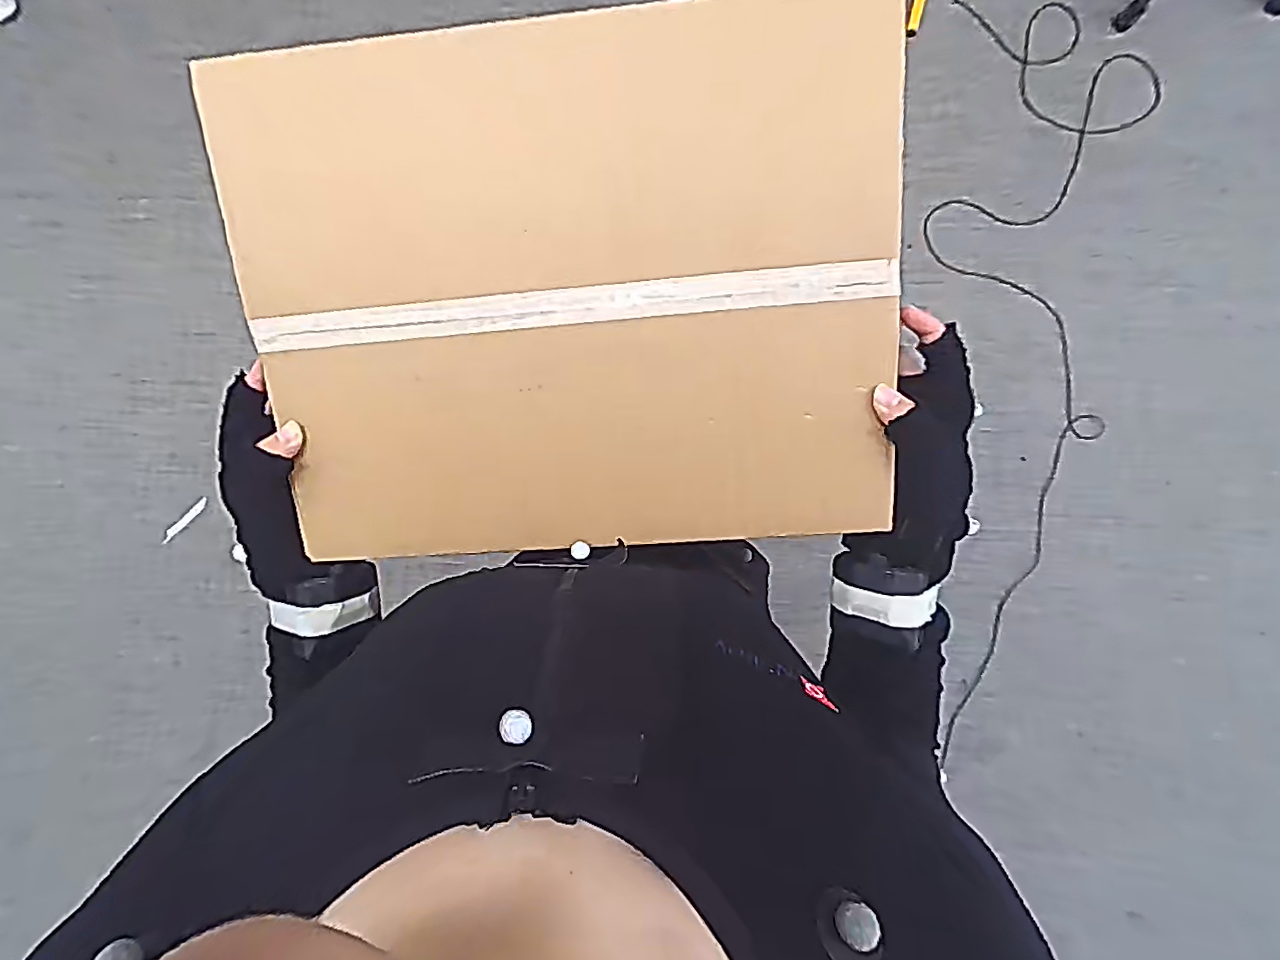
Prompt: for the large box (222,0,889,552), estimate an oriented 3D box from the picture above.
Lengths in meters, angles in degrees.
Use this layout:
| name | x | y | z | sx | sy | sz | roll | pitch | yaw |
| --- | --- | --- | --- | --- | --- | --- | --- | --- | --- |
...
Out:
| name | x | y | z | sx | sy | sz | roll | pitch | yaw |
| --- | --- | --- | --- | --- | --- | --- | --- | --- | --- |
| large box | -0.040 | -0.144 | 0.491 | 0.408 | 0.320 | 0.320 | -4 | 104 | 4 |
